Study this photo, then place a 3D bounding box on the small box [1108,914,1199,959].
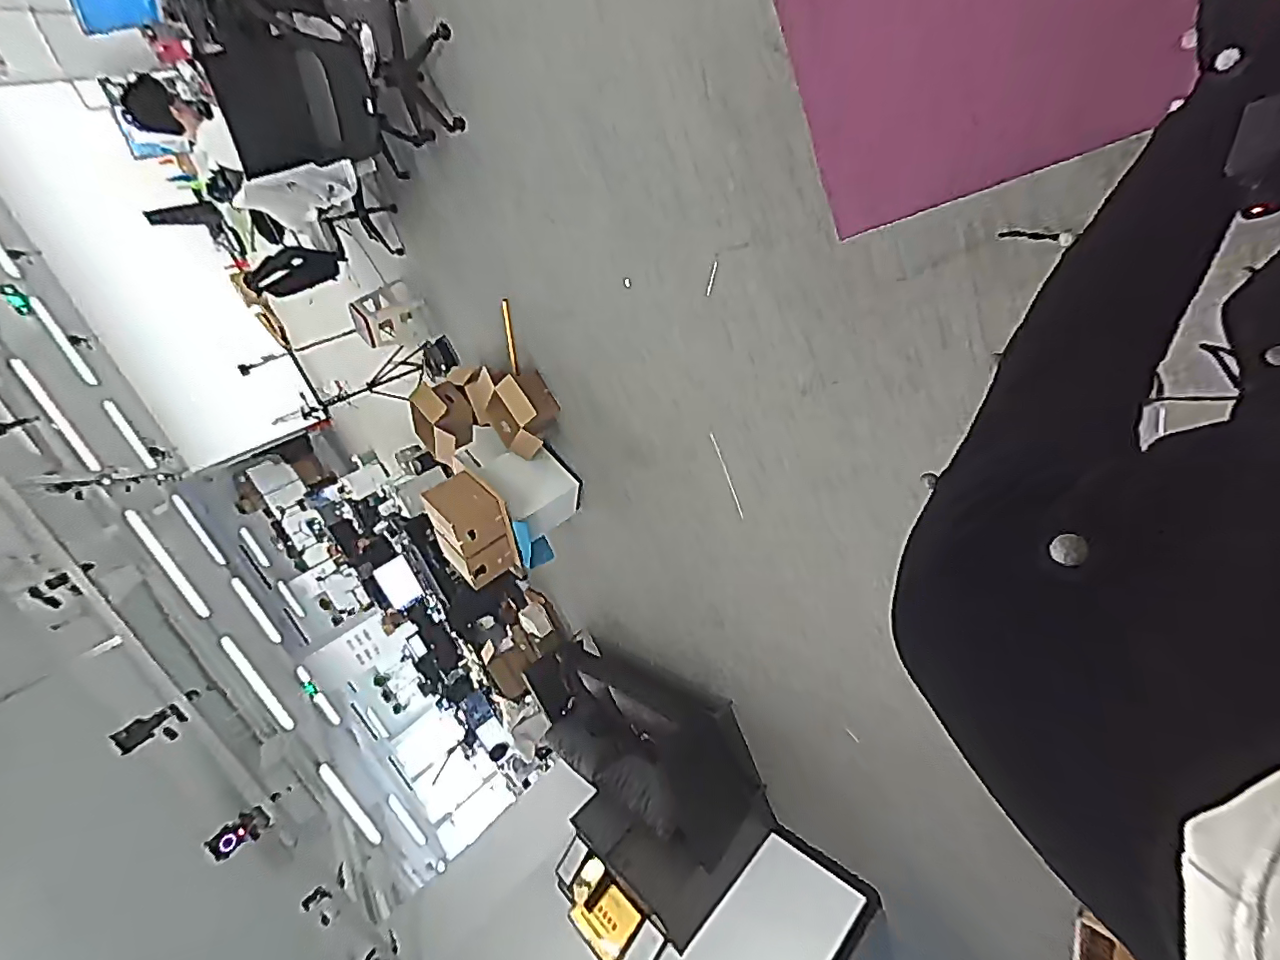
[{"bbox_3d":[1.390,1.351,1.471,0.168,0.176,0.179,16,131,47],"label":"small box"}]
